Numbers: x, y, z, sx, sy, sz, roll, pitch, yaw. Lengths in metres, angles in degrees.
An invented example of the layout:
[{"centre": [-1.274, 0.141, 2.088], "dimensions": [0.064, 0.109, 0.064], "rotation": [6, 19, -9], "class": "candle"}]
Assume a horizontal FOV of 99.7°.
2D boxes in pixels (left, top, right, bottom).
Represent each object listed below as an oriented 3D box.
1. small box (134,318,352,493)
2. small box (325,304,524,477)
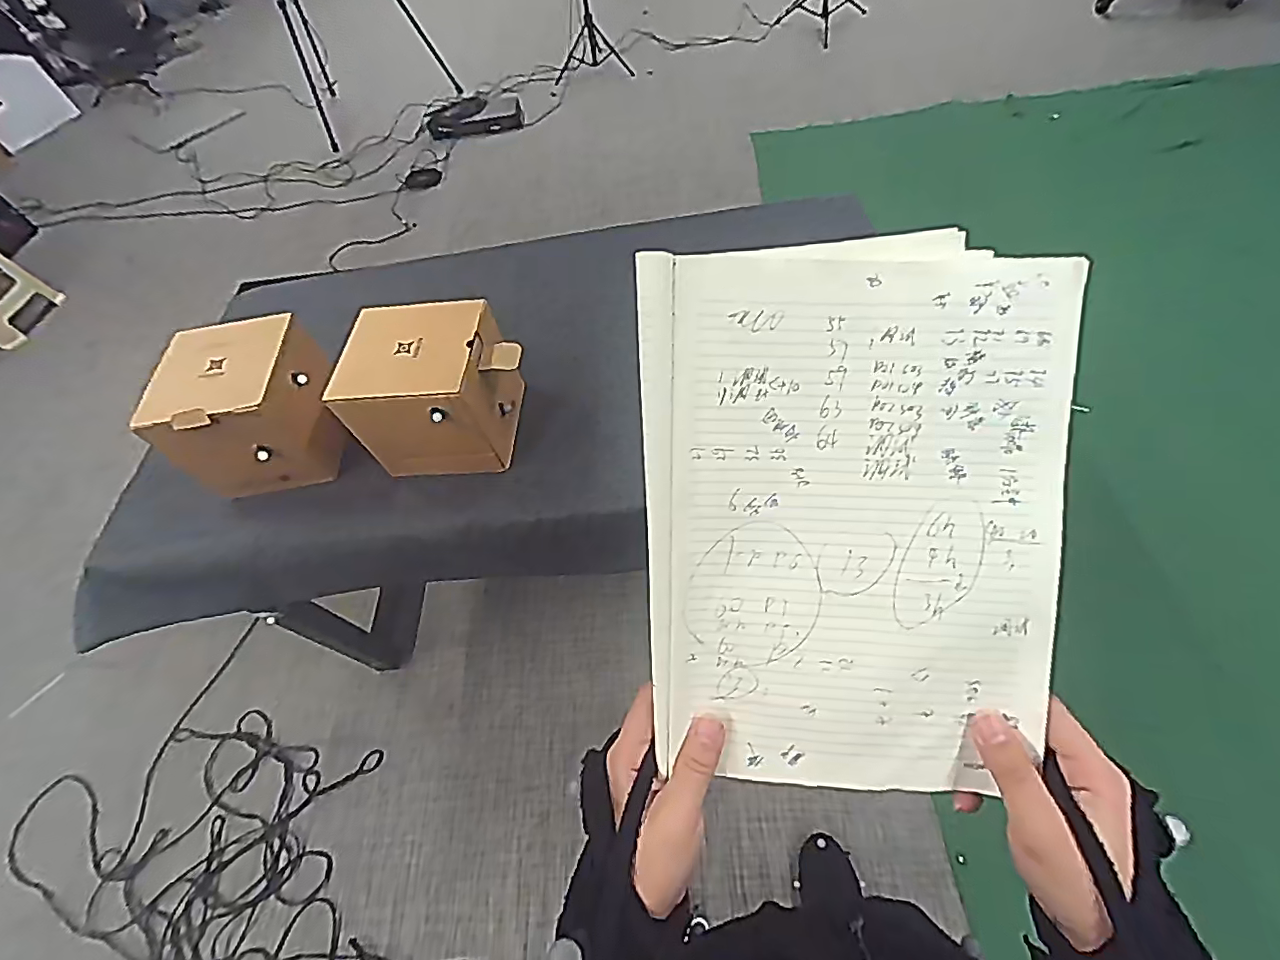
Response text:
[{"centre": [-0.535, -0.095, 0.765], "dimensions": [0.168, 0.176, 0.179], "rotation": [-9, 55, 1], "class": "small box"}, {"centre": [-0.278, -0.115, 0.741], "dimensions": [0.179, 0.176, 0.168], "rotation": [-2, 56, 6], "class": "small box"}]
